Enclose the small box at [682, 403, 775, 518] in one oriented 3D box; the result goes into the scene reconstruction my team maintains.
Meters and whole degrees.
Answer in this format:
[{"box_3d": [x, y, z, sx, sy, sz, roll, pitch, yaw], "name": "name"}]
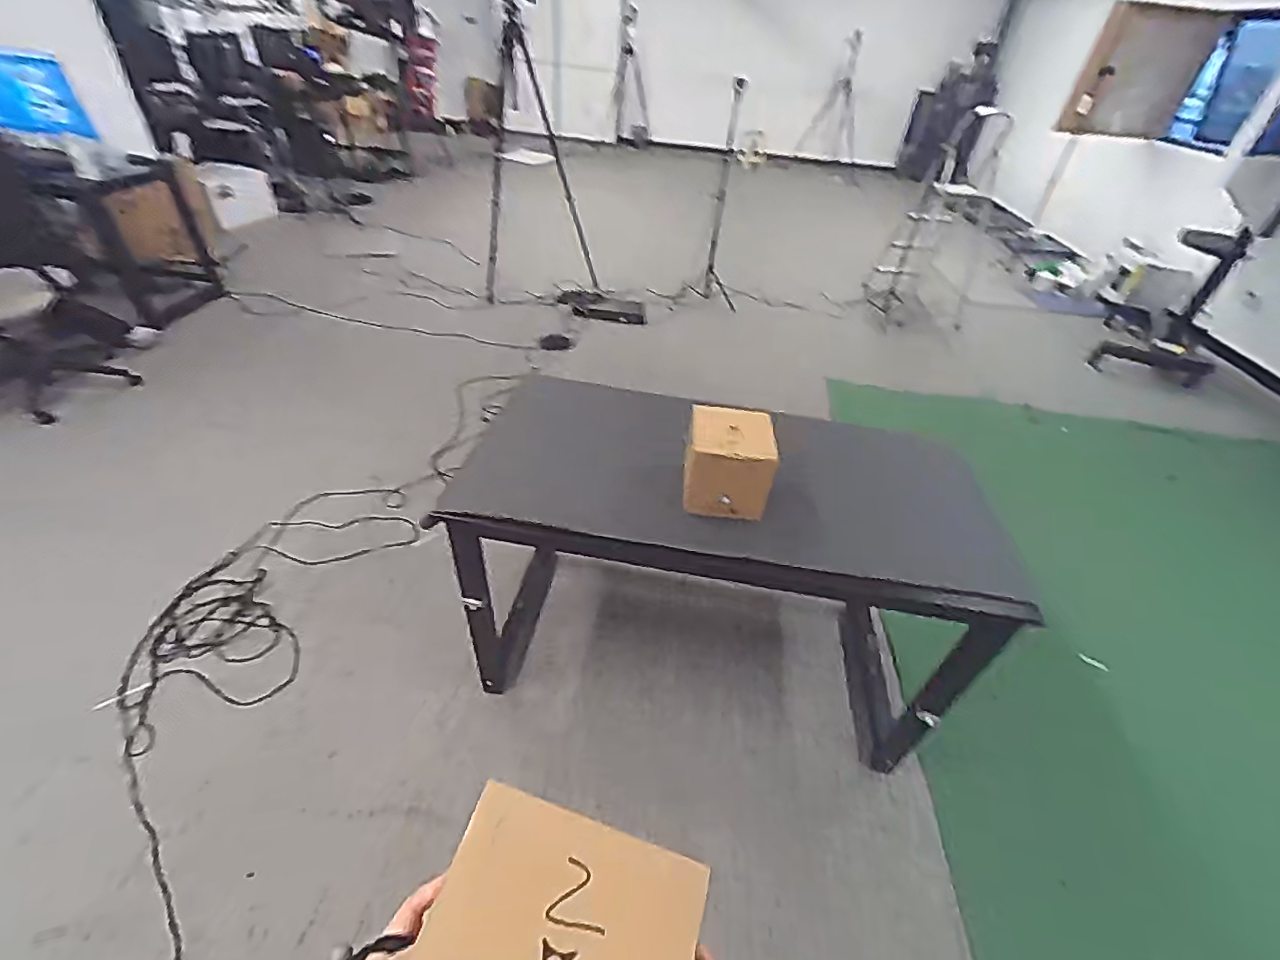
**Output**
[{"box_3d": [0.182, -0.044, 1.168, 0.168, 0.176, 0.179, 6, 38, 1], "name": "small box"}]
